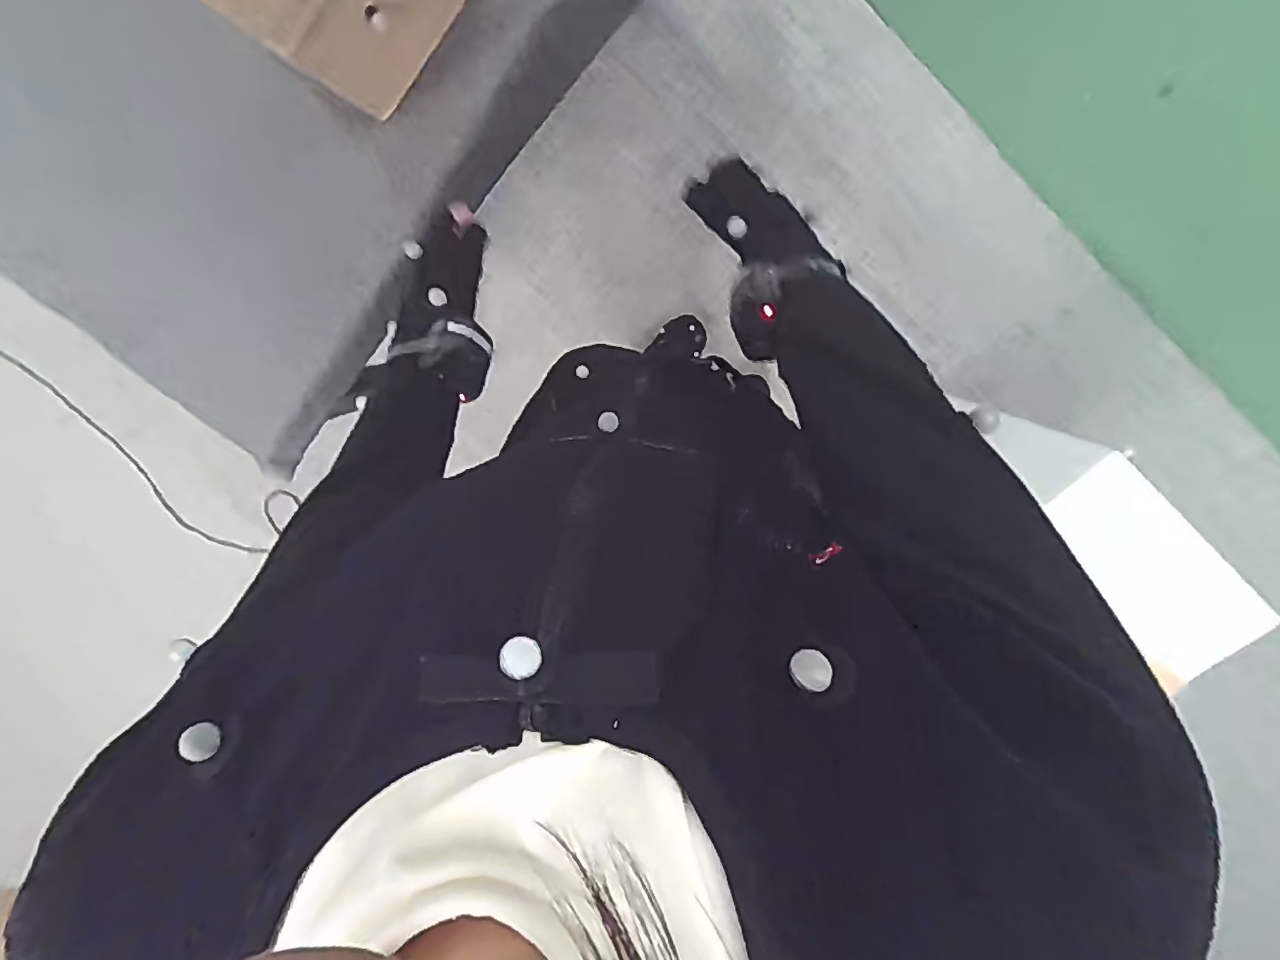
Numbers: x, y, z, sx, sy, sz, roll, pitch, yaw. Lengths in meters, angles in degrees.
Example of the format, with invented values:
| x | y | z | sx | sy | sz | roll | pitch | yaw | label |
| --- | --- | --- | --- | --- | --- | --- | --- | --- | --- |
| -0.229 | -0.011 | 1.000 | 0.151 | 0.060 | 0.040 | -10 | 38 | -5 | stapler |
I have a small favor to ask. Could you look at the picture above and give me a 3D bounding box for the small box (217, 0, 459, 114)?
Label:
| x | y | z | sx | sy | sz | roll | pitch | yaw | label |
| --- | --- | --- | --- | --- | --- | --- | --- | --- | --- |
| -0.286 | -0.473 | 0.474 | 0.168 | 0.176 | 0.179 | 42 | 107 | -8 | small box |
